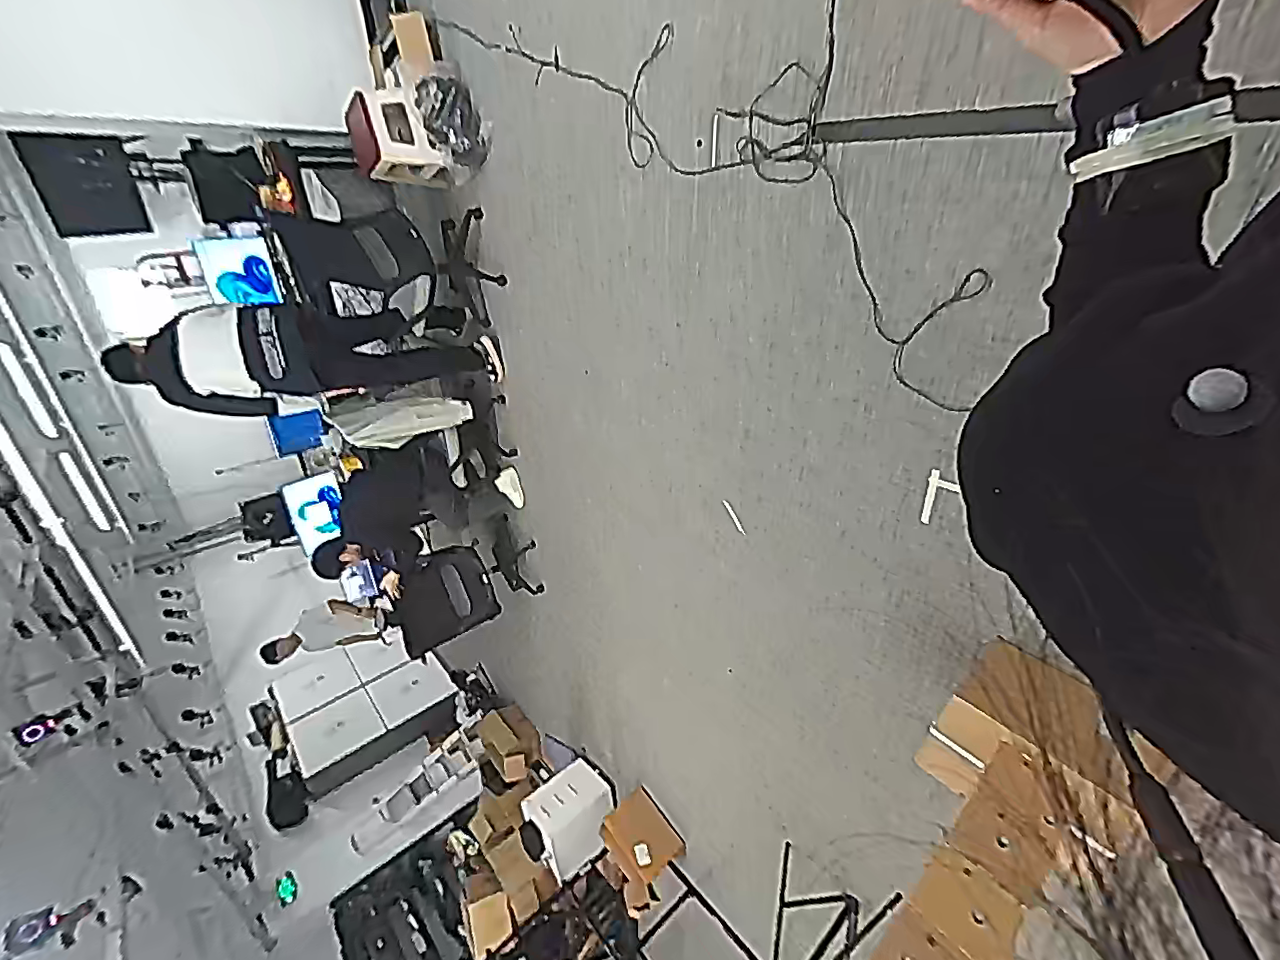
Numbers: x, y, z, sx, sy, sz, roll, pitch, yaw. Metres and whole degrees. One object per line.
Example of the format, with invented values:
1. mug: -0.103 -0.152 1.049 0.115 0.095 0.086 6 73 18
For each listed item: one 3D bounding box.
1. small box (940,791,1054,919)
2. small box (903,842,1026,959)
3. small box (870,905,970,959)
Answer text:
1. small box: 0.748 0.820 1.161 0.168 0.176 0.179 33 132 38
2. small box: 0.625 0.869 1.067 0.168 0.176 0.179 30 132 39
3. small box: 0.504 0.928 0.975 0.168 0.176 0.179 31 133 41
